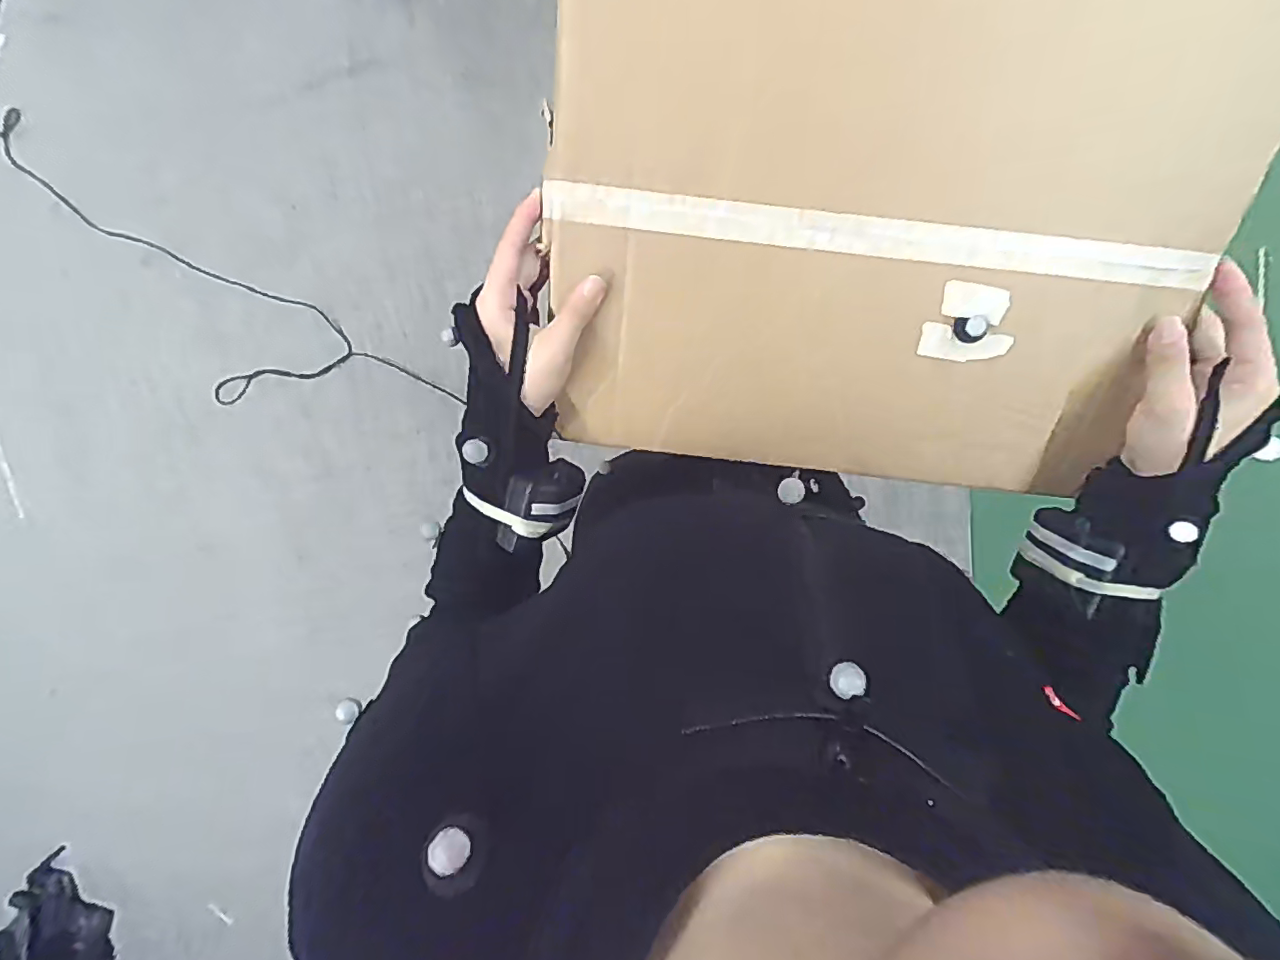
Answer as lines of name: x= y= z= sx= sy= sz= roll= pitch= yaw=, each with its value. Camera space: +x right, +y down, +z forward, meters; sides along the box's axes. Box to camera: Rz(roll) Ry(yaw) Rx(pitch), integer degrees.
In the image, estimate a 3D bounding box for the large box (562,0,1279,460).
large box: x=0.152 y=-0.227 z=0.470 sx=0.408 sy=0.320 sz=0.320 roll=5 pitch=115 yaw=-1
